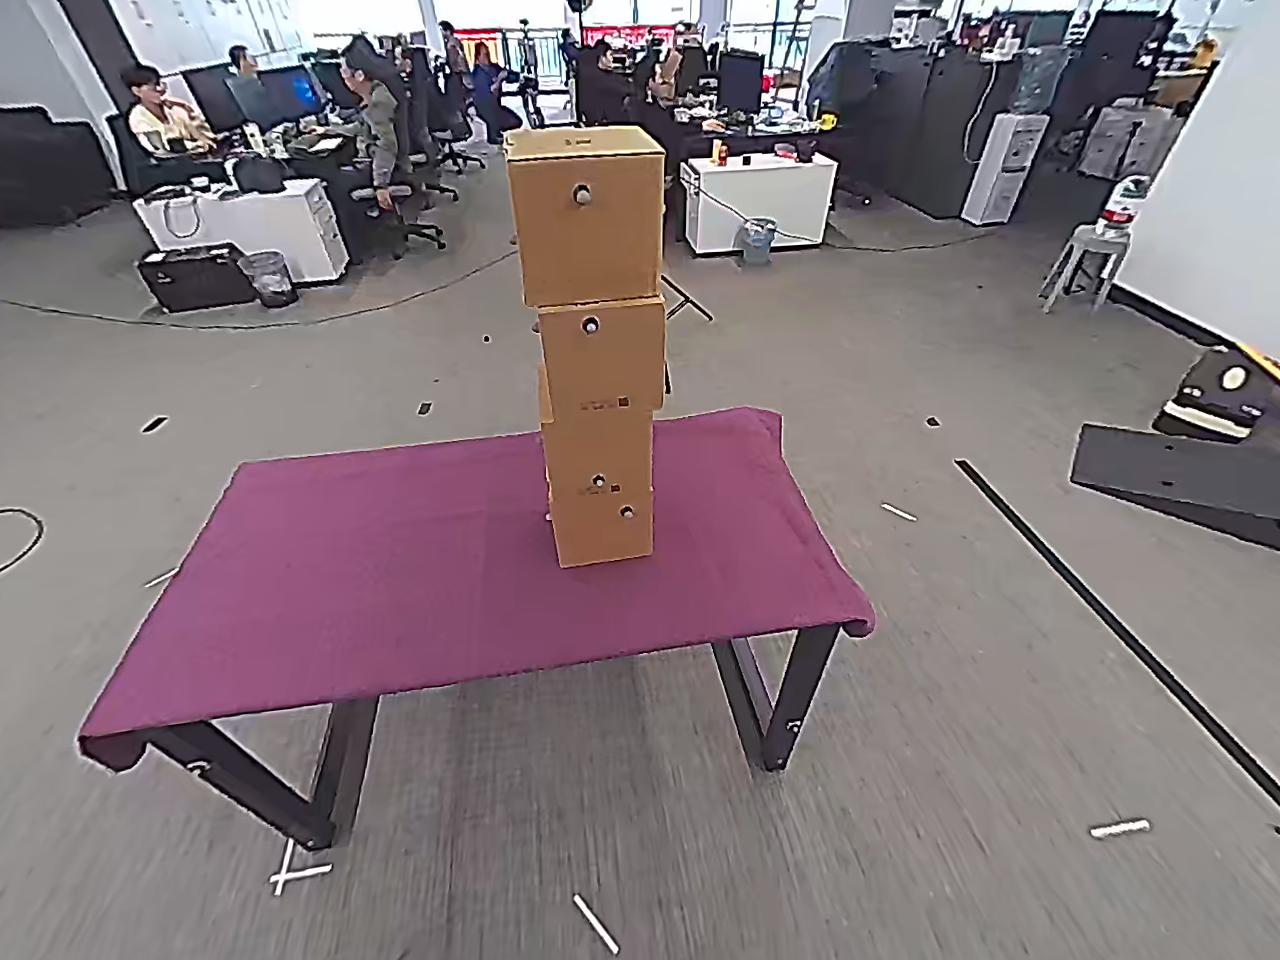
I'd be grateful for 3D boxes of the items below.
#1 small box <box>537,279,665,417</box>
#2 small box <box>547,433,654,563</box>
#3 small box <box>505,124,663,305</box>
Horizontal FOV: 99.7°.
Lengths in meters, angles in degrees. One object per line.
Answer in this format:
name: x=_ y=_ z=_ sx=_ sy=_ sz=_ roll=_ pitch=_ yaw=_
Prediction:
small box: x=-0.061 y=-0.213 z=0.797 sx=0.168 sy=0.176 sz=0.179 roll=-8 pitch=42 yaw=-7
small box: x=-0.074 y=0.034 z=1.013 sx=0.179 sy=0.176 sz=0.168 roll=-8 pitch=41 yaw=-6
small box: x=-0.073 y=-0.342 z=0.697 sx=0.179 sy=0.176 sz=0.168 roll=-8 pitch=42 yaw=-7
